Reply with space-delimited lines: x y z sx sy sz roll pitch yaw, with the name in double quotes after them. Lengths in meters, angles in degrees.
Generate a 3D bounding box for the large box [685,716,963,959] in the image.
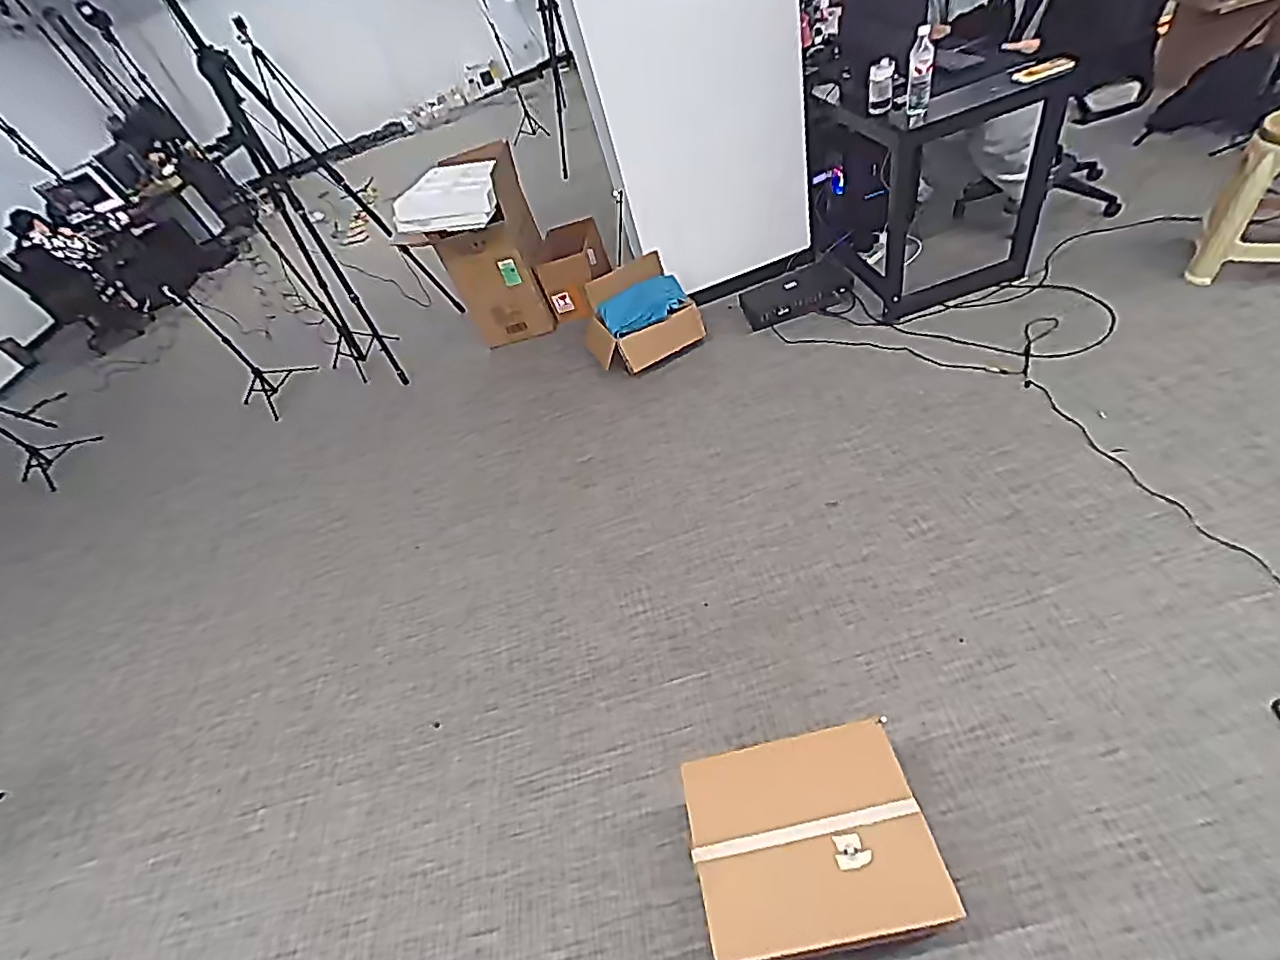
0.337 0.723 1.071 0.408 0.320 0.320 -17 46 5 "large box"
